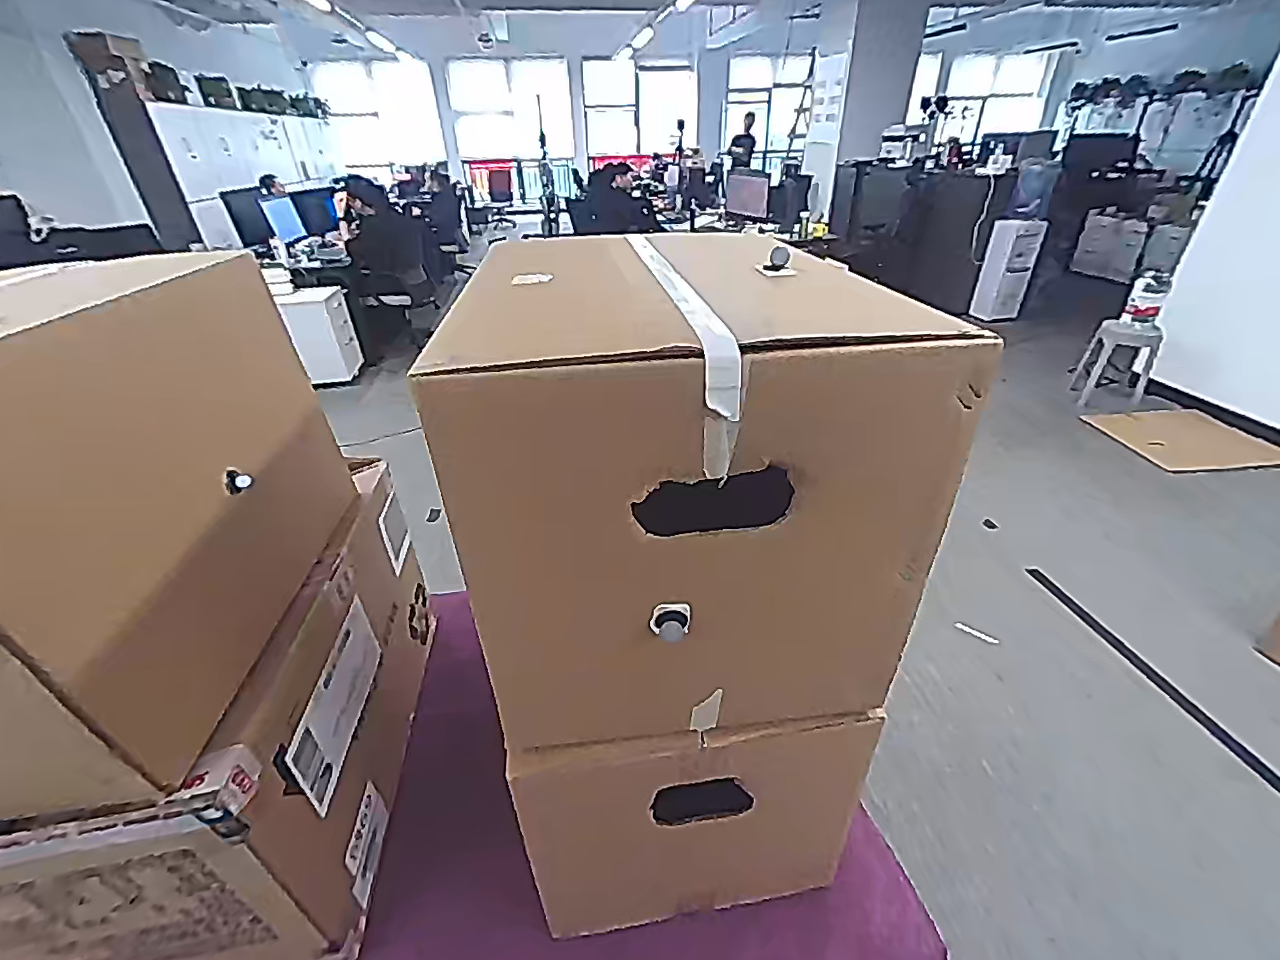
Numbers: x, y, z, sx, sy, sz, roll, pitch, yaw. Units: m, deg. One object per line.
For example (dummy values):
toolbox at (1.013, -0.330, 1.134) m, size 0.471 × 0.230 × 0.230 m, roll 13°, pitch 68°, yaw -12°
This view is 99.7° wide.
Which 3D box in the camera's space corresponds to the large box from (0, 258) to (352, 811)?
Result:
large box at (-0.518, 0.015, 0.480) m, size 0.320 × 0.320 × 0.408 m, roll -9°, pitch 33°, yaw -3°
